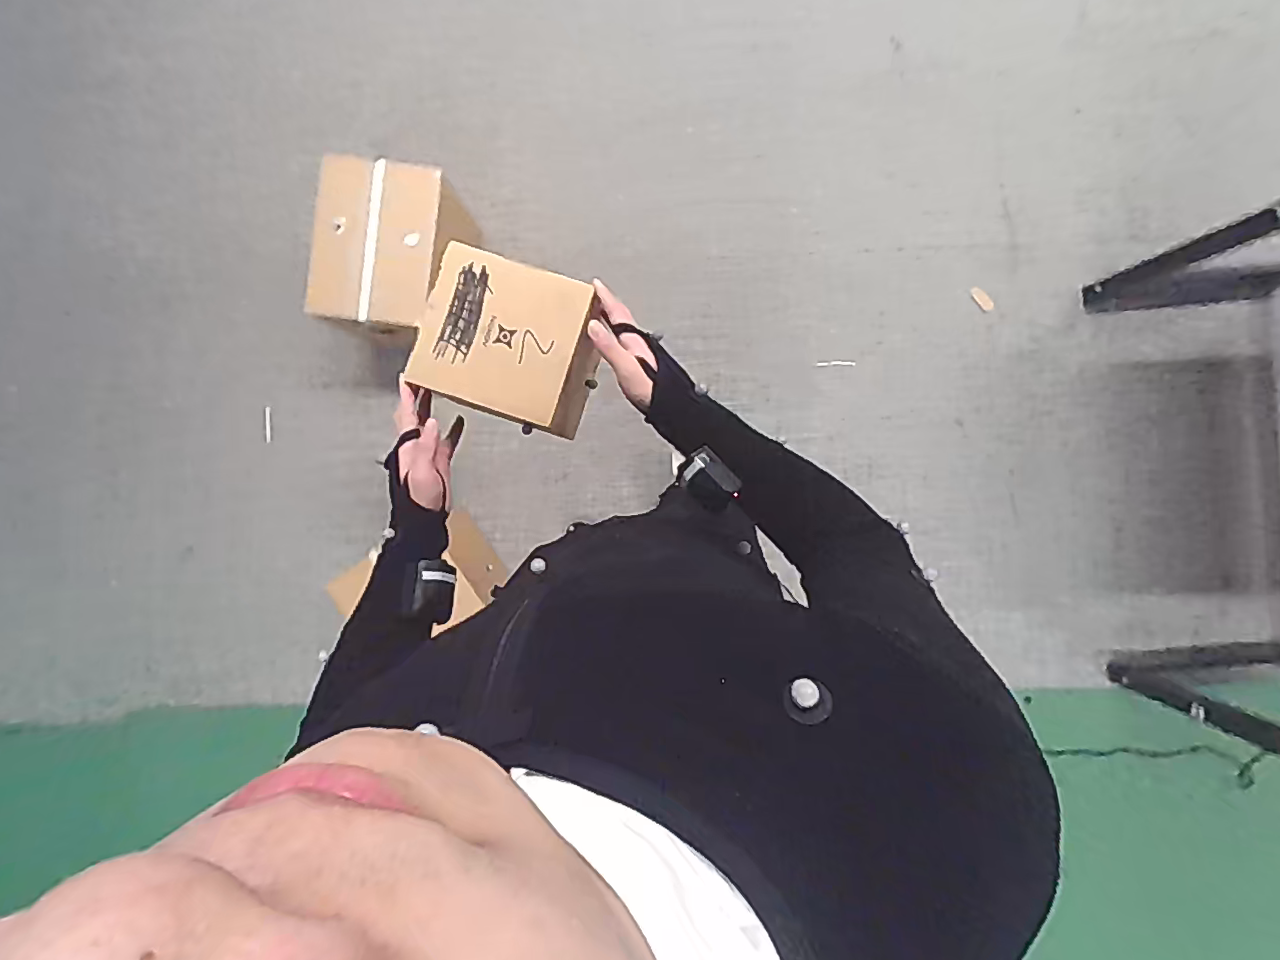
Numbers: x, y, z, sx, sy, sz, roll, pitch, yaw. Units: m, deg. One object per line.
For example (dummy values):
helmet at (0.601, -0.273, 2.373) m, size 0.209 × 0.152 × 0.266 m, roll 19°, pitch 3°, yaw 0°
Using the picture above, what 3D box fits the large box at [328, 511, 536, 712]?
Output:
large box at (-0.553, 0.342, 1.515) m, size 0.320 × 0.320 × 0.408 m, roll -36°, pitch 91°, yaw 2°
